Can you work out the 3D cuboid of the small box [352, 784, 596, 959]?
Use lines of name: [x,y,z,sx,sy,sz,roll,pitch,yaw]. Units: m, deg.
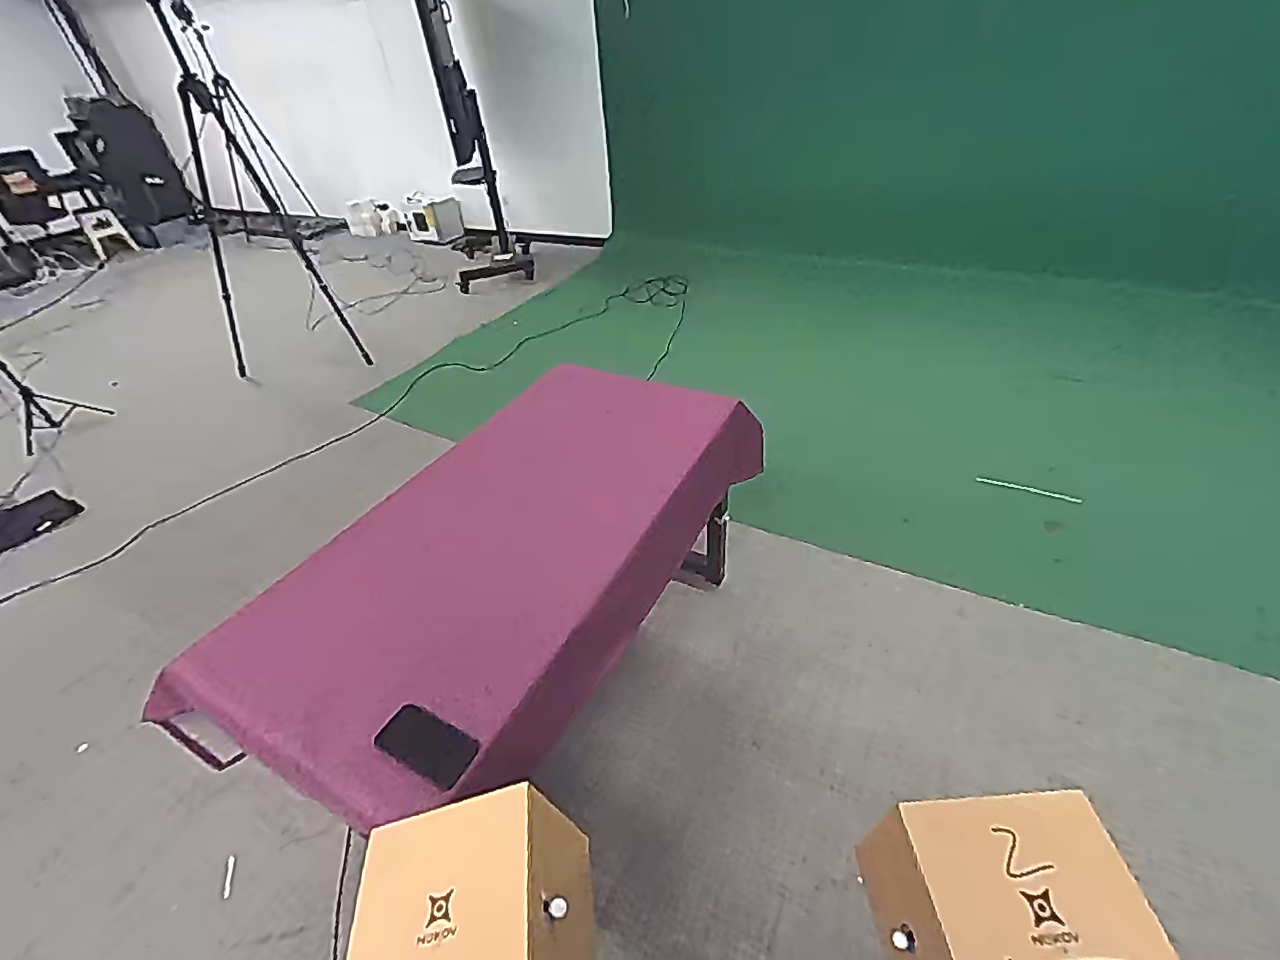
small box: [-0.146,0.431,0.516,0.168,0.176,0.179,-18,40,3]
